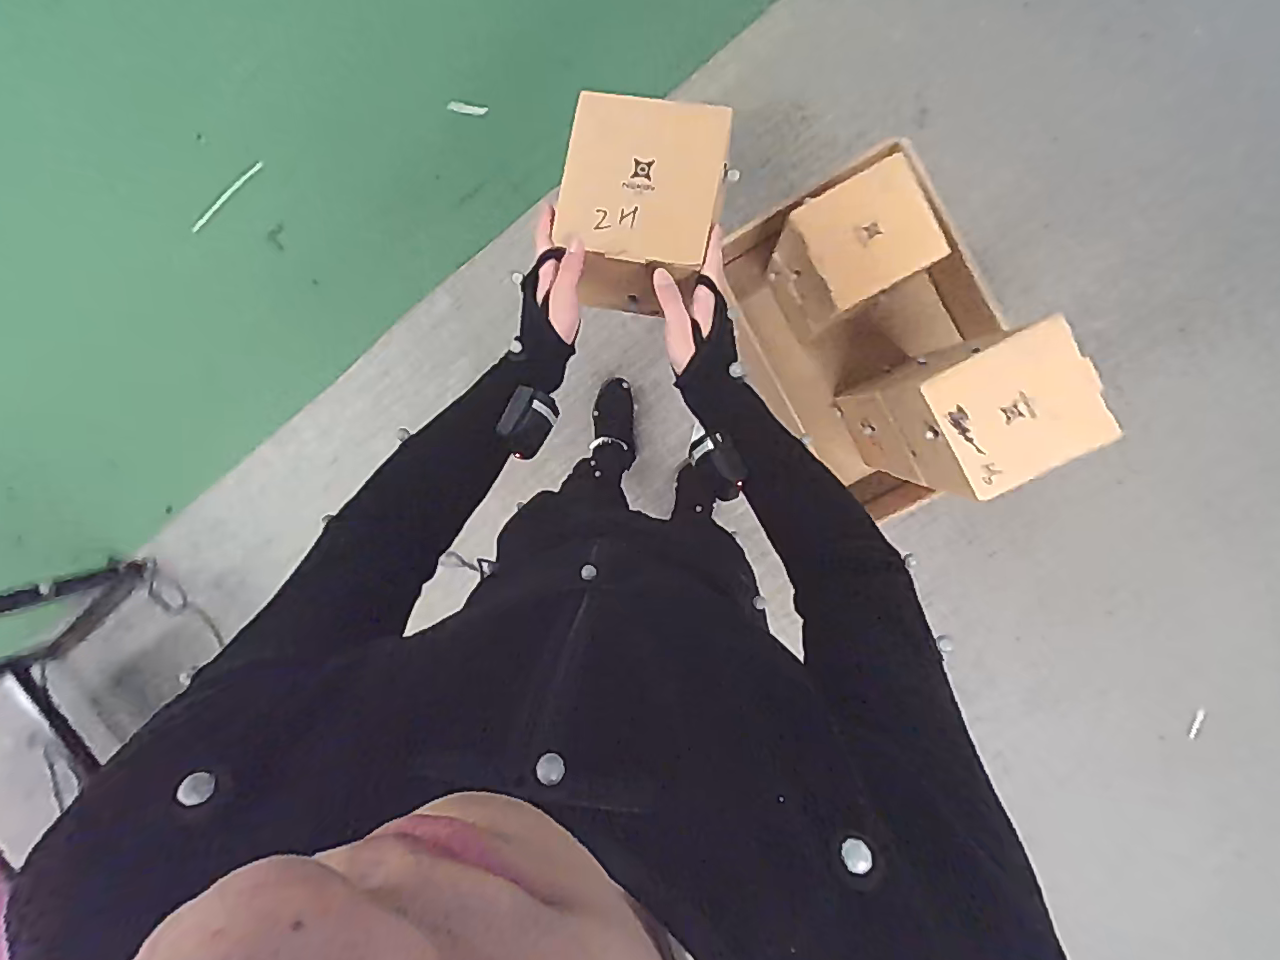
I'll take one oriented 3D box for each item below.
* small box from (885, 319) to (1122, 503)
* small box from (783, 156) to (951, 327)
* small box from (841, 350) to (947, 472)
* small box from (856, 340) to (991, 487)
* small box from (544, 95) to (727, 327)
[{"bbox_3d":[0.464,-0.088,0.722,0.179,0.176,0.168,-27,91,9],"label":"small box"},{"bbox_3d":[0.351,-0.369,0.873,0.179,0.176,0.168,-27,93,9],"label":"small box"},{"bbox_3d":[0.508,-0.128,1.044,0.179,0.176,0.168,-27,92,9],"label":"small box"},{"bbox_3d":[0.484,-0.107,0.884,0.179,0.176,0.168,-27,92,10],"label":"small box"},{"bbox_3d":[0.001,-0.307,0.645,0.168,0.176,0.179,11,87,7],"label":"small box"}]
